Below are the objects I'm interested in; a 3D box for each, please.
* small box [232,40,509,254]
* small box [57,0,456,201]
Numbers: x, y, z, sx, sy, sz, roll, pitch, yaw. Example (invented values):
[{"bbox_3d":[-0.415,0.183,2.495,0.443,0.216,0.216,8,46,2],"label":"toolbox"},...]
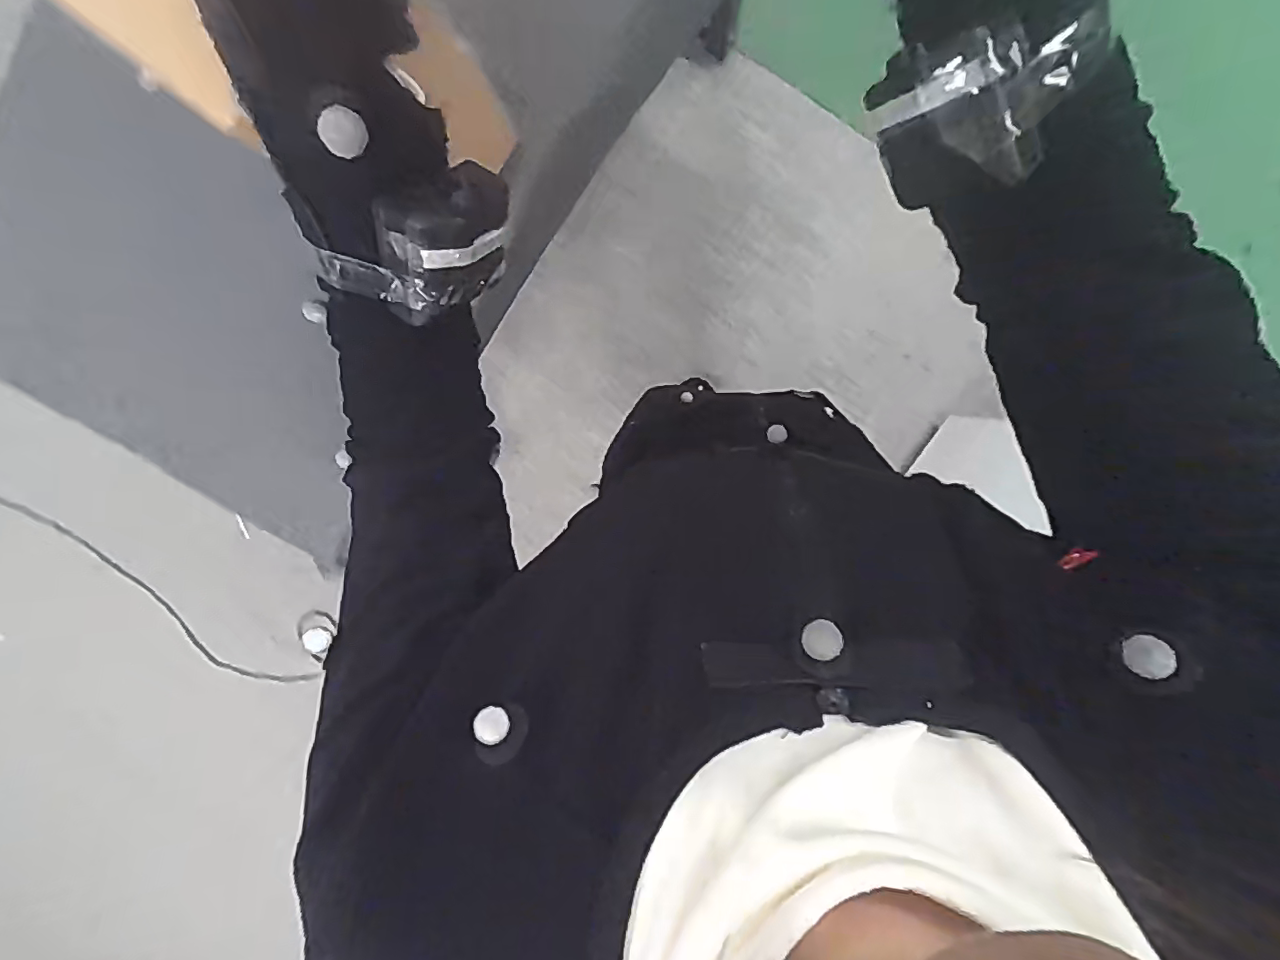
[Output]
[{"bbox_3d":[-0.263,-0.369,0.565,0.168,0.176,0.179,35,100,-2],"label":"small box"},{"bbox_3d":[-0.276,-0.348,0.402,0.179,0.176,0.168,35,99,0],"label":"small box"}]
